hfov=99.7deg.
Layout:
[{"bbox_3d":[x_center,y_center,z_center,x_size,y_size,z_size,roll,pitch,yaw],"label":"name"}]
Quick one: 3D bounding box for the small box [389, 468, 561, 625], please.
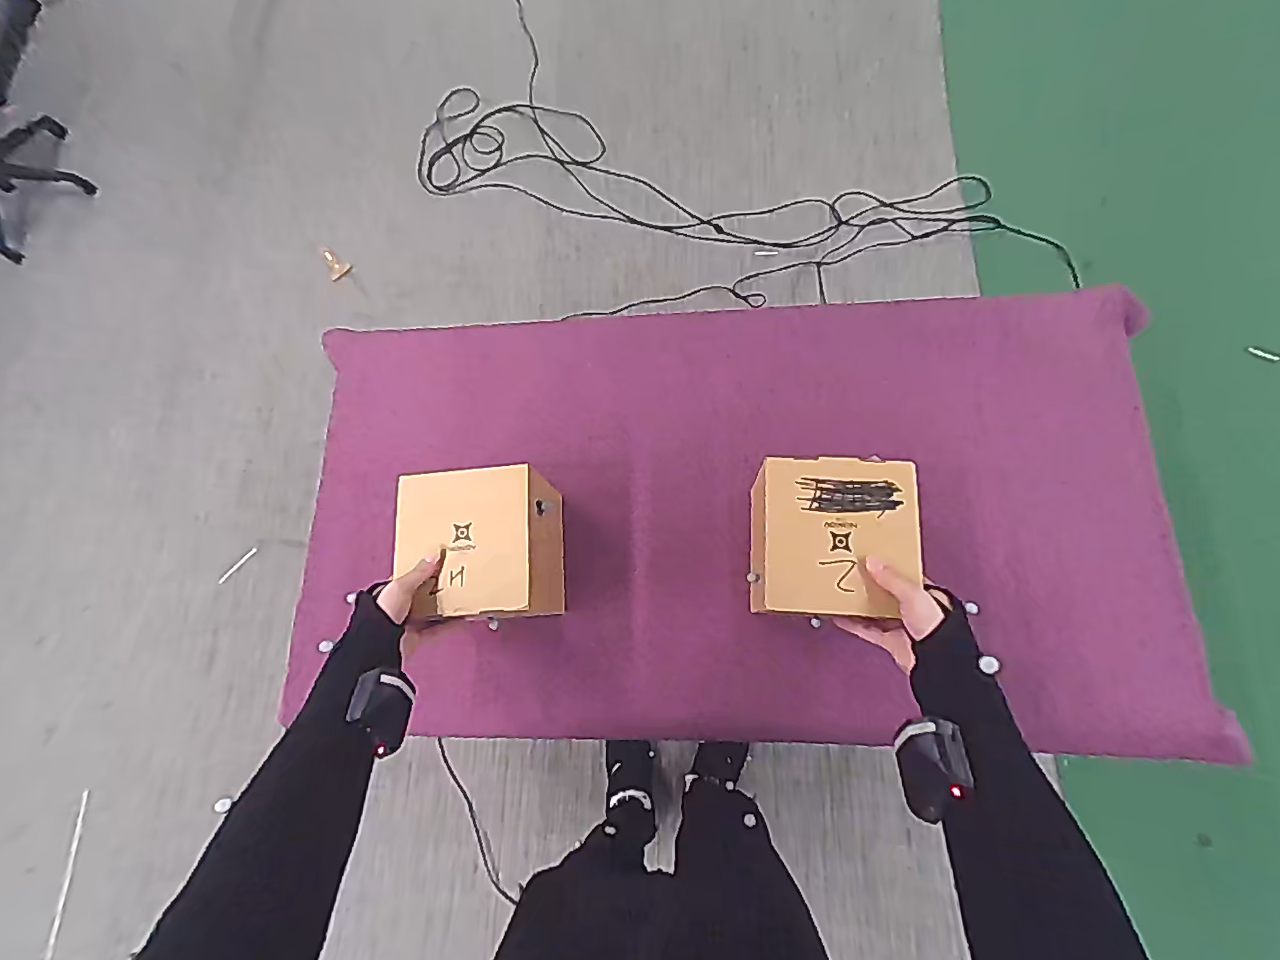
[{"bbox_3d":[-0.206,0.096,0.719,0.168,0.176,0.179,-5,73,6],"label":"small box"}]
